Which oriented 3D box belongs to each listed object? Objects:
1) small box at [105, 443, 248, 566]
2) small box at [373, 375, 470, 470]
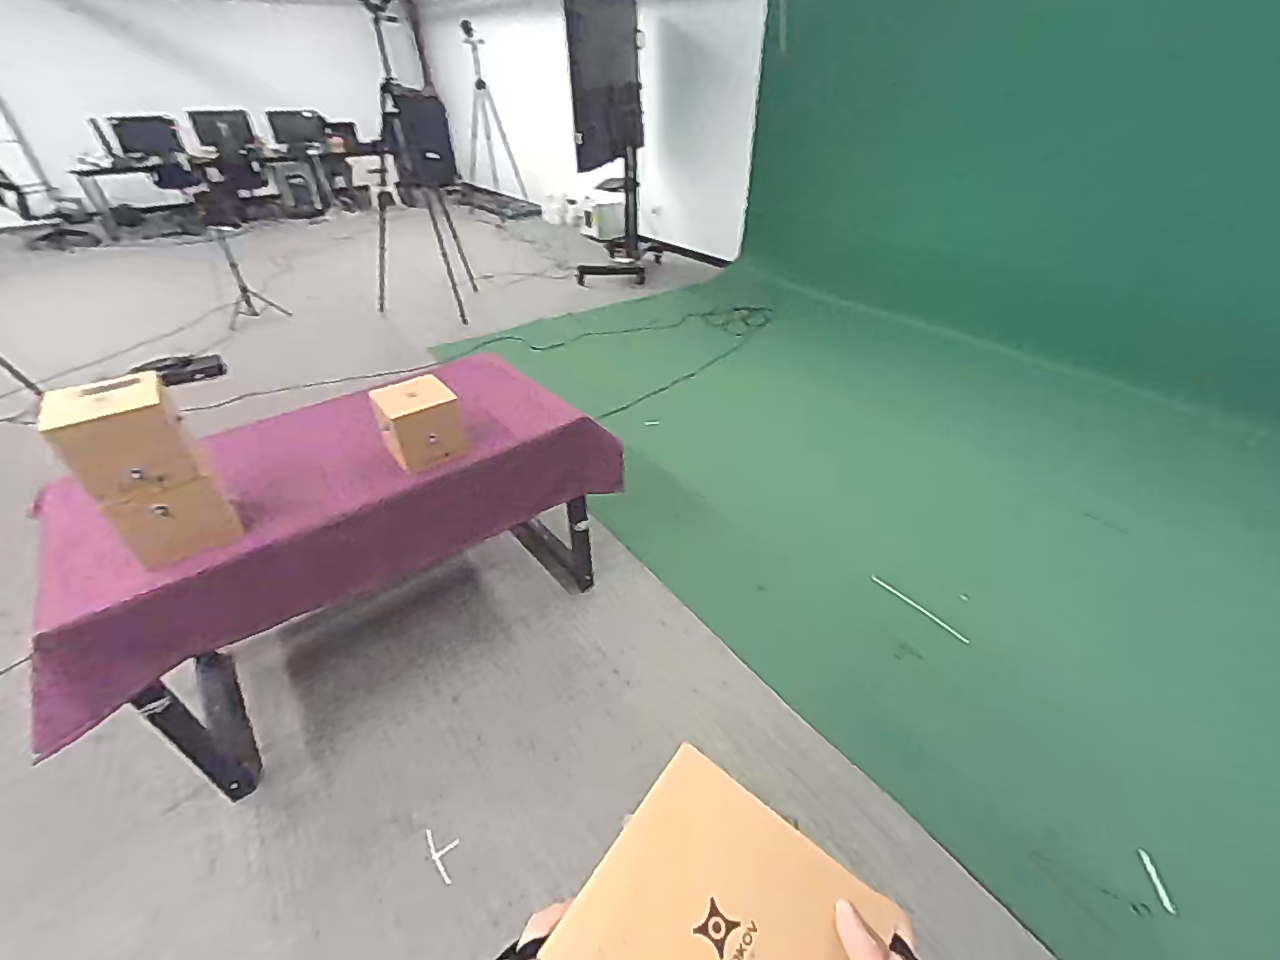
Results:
[{"bbox_3d":[-0.973,0.052,1.143,0.179,0.176,0.168,-25,43,-30],"label":"small box"},{"bbox_3d":[-0.560,-0.145,1.398,0.168,0.176,0.179,-25,43,-29],"label":"small box"}]
